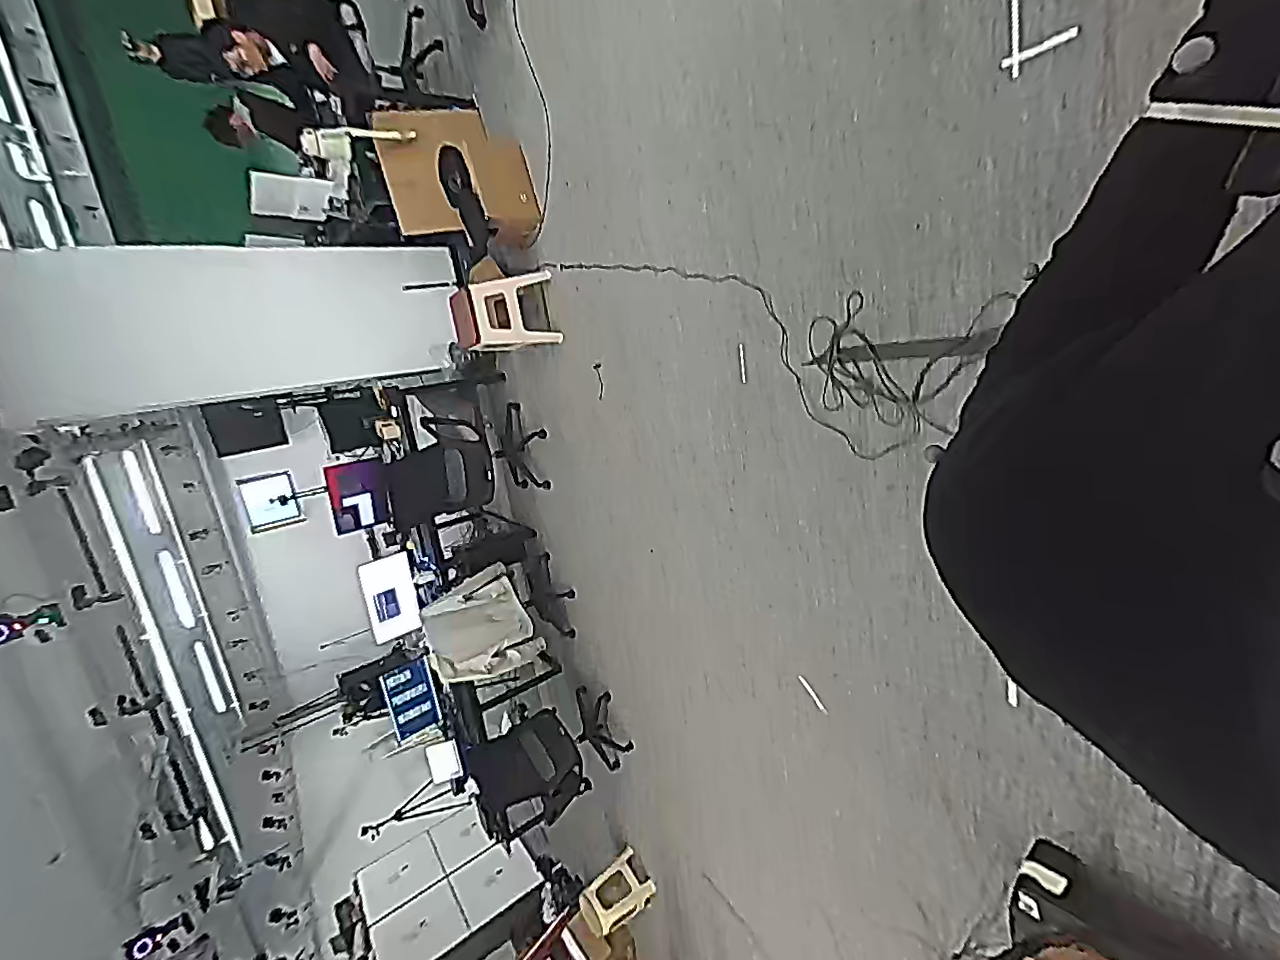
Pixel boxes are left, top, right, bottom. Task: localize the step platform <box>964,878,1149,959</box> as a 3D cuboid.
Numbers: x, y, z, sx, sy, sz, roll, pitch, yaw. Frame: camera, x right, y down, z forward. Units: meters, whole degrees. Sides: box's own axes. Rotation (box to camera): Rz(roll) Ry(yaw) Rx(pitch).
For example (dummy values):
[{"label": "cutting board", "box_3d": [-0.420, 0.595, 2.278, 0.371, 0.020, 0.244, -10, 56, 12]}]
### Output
[{"label": "step platform", "box_3d": [1.108, 1.223, 1.164, 0.684, 0.204, 0.286, 8, 112, 54]}]
